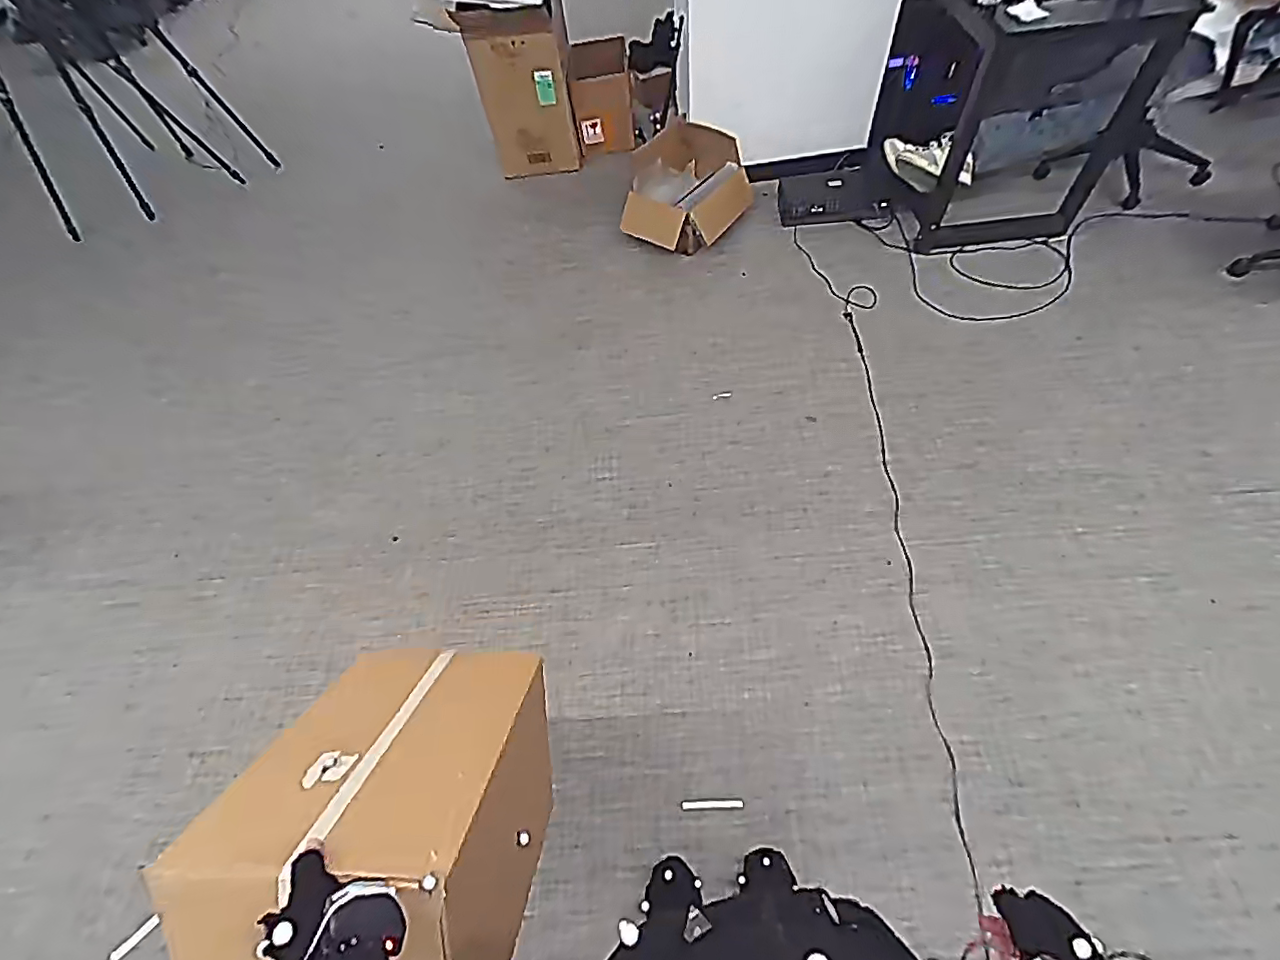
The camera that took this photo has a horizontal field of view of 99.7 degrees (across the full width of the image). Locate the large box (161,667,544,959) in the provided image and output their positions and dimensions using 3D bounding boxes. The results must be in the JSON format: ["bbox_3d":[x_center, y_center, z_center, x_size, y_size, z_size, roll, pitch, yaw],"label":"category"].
[{"bbox_3d":[-0.332,0.517,0.771,0.320,0.320,0.408,-1,14,3],"label":"large box"}]
